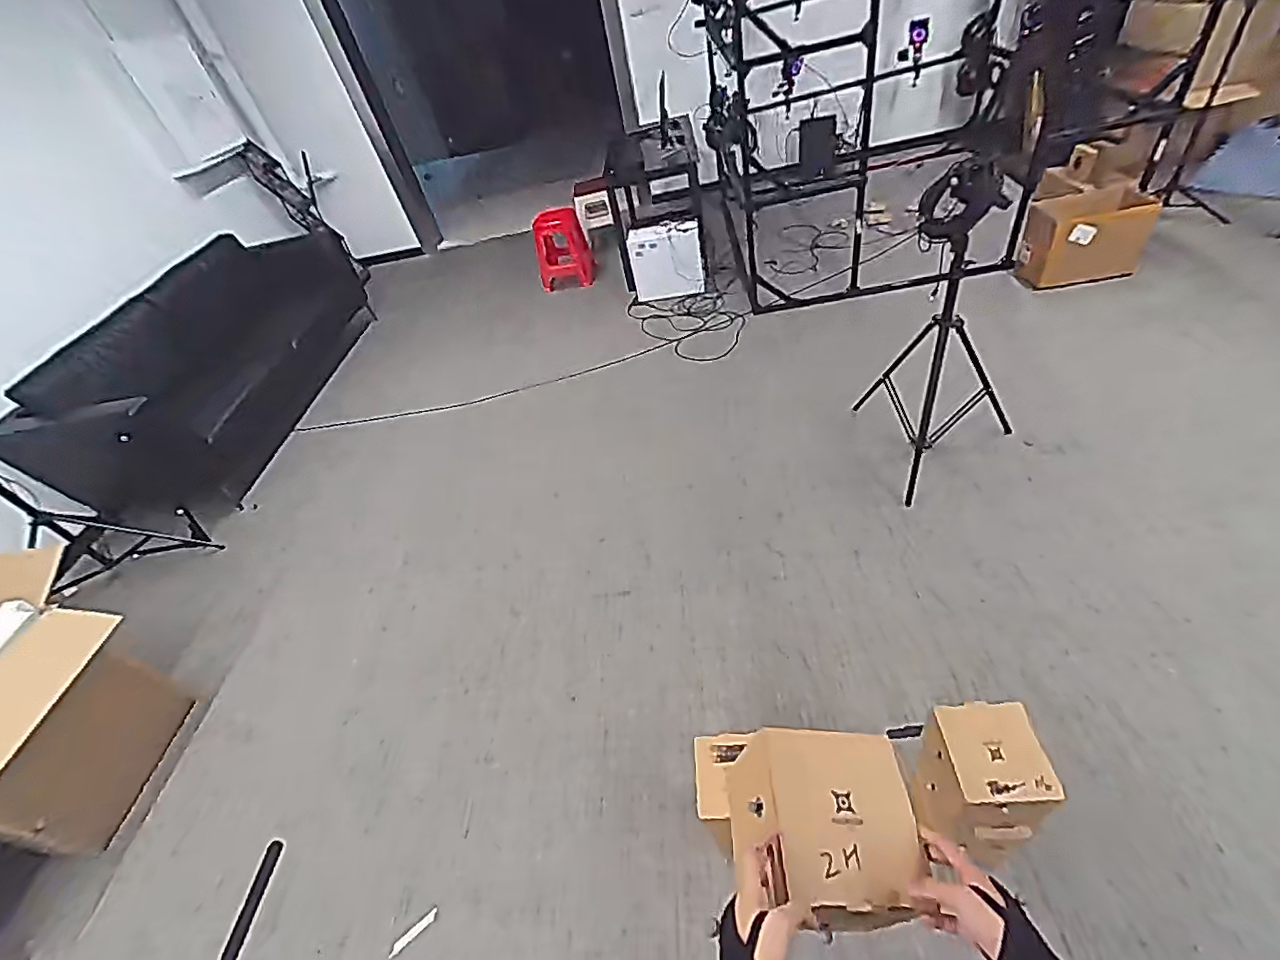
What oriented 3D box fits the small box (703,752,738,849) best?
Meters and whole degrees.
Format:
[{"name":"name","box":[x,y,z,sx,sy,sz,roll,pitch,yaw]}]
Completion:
[{"name":"small box","box":[0.260,0.822,1.391,0.168,0.176,0.179,-10,43,8]}]

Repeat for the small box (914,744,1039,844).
[{"name":"small box","box":[0.715,0.671,1.171,0.168,0.176,0.179,-6,43,9]}]

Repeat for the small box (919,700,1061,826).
[{"name":"small box","box":[0.669,0.555,1.062,0.168,0.176,0.179,-7,43,9]}]

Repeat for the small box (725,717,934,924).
[{"name":"small box","box":[0.209,0.415,0.658,0.168,0.176,0.179,6,44,-6]}]

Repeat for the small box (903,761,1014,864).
[{"name":"small box","box":[0.741,0.788,1.283,0.168,0.176,0.179,-6,44,10]}]
